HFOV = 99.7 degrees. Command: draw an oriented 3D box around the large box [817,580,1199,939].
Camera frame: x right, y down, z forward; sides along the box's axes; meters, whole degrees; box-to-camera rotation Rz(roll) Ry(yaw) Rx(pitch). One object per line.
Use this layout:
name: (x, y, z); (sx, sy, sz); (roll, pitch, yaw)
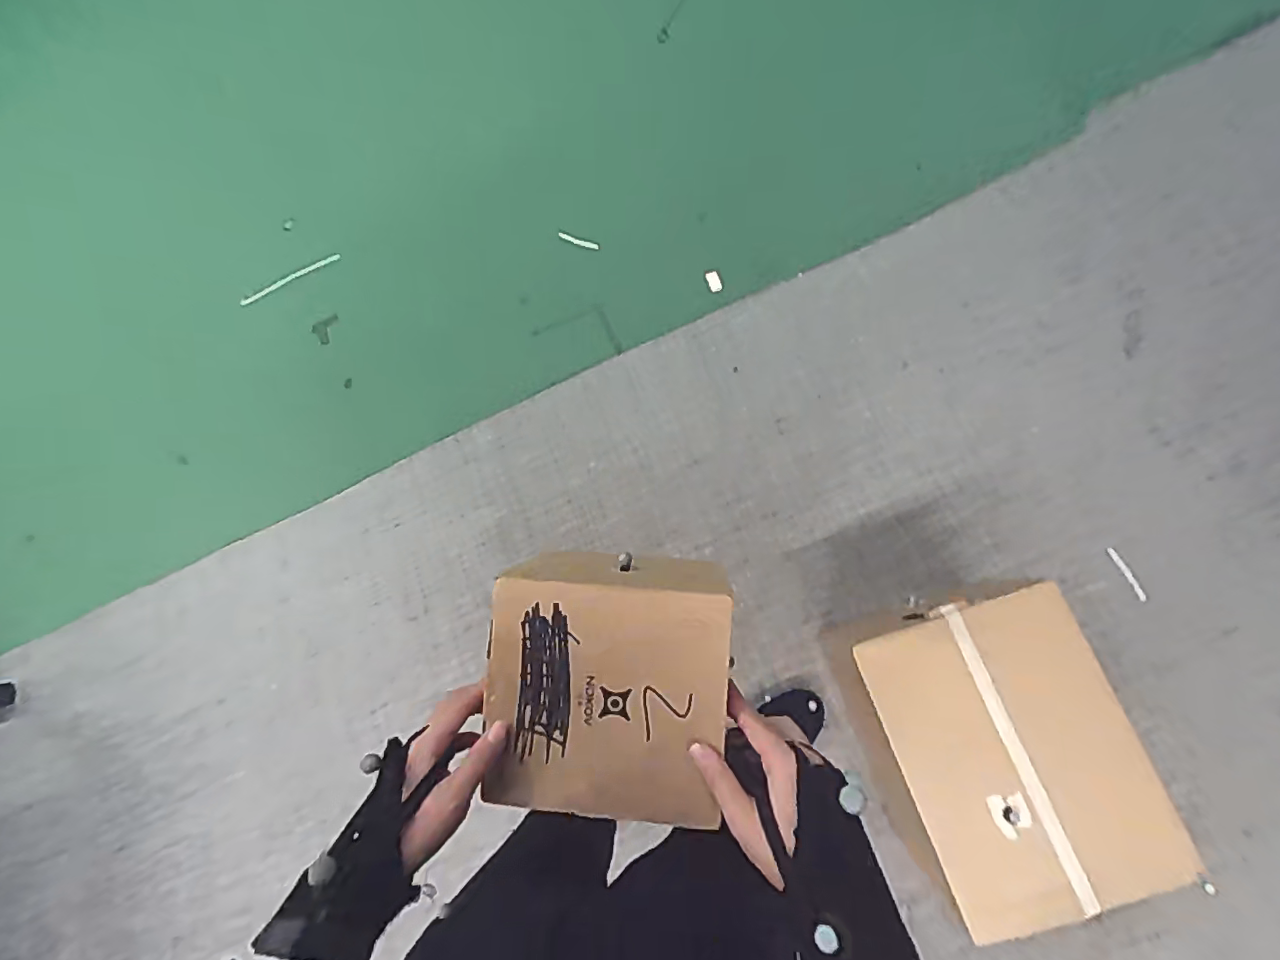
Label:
large box: (0.541, 0.408, 0.900); (0.320, 0.320, 0.408); (-20, 77, 5)
